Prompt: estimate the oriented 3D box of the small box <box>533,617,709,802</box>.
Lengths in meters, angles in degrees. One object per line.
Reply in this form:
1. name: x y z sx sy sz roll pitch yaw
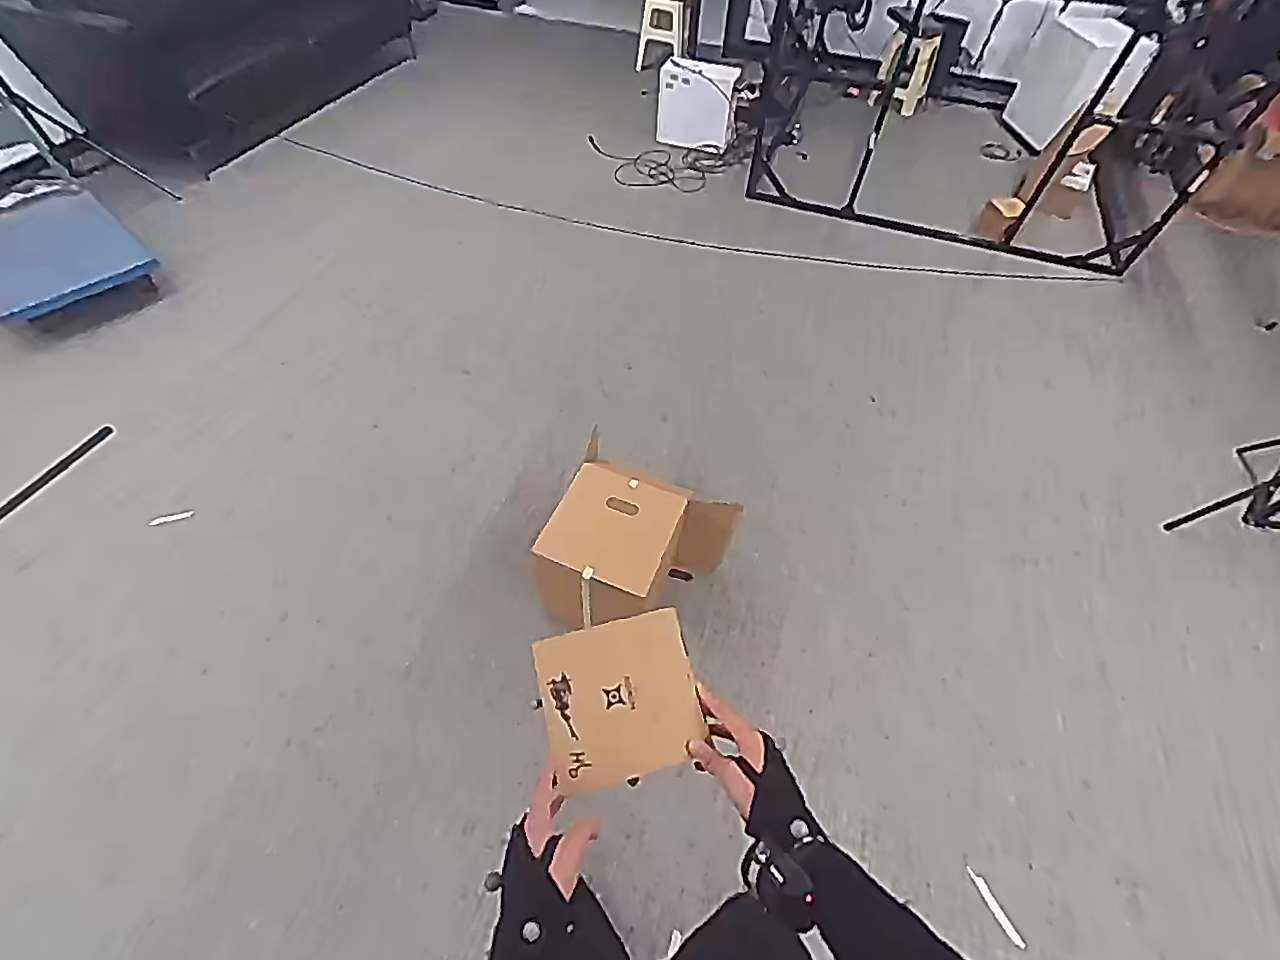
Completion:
1. small box: -0.033 0.286 0.690 0.179 0.176 0.168 -11 67 -11
